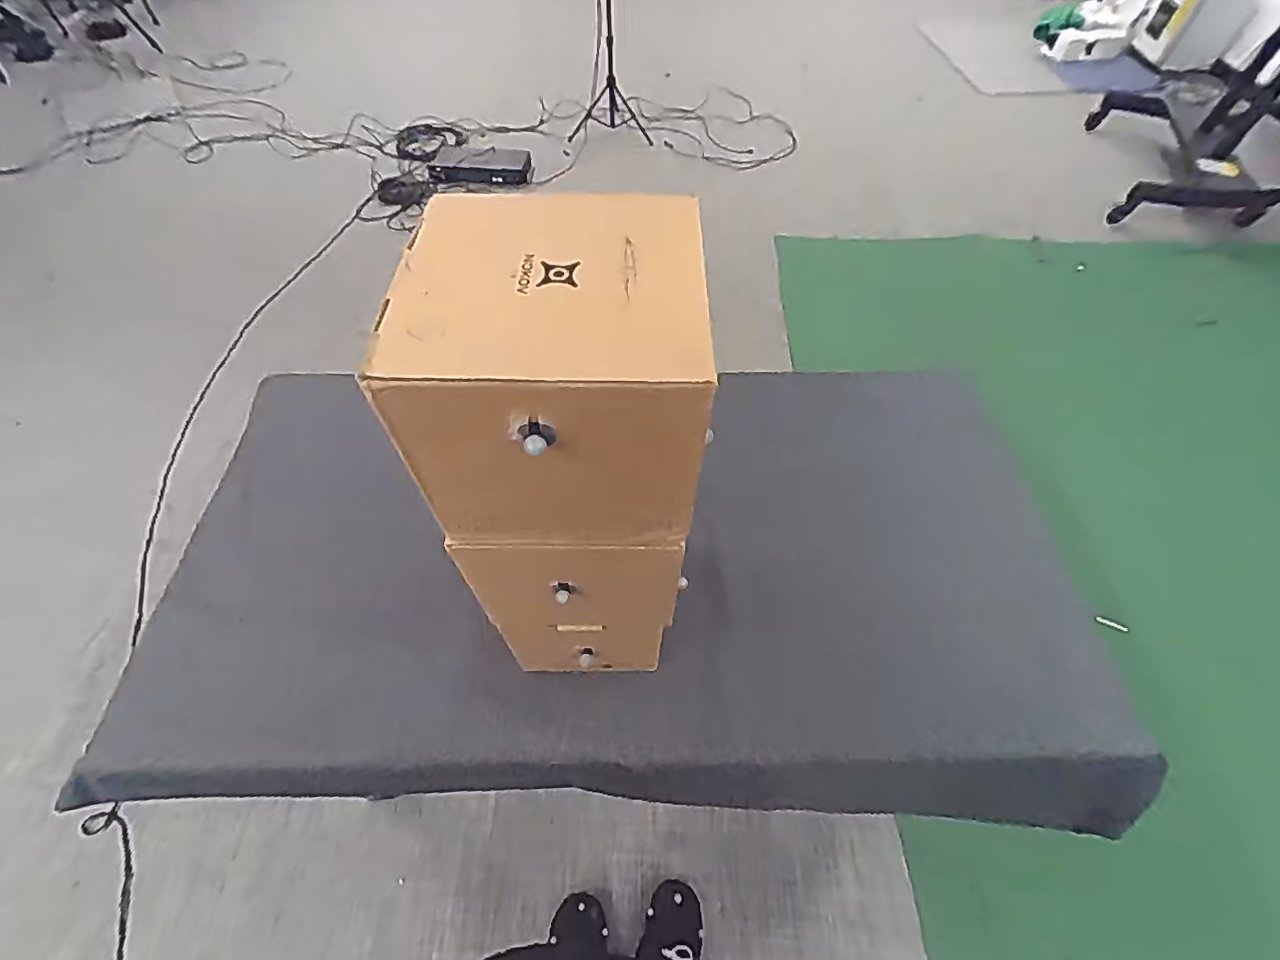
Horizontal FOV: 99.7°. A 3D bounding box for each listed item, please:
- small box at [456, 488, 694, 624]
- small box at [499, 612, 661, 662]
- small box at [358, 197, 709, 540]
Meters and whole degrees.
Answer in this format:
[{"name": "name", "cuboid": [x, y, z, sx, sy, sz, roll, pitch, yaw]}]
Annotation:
[{"name": "small box", "cuboid": [-0.052, 0.028, 0.503, 0.179, 0.176, 0.168, -2, 56, -3]}, {"name": "small box", "cuboid": [-0.058, 0.112, 0.644, 0.168, 0.176, 0.179, 0, 57, 0]}, {"name": "small box", "cuboid": [-0.051, -0.068, 0.372, 0.179, 0.176, 0.168, 1, 57, -1]}]
